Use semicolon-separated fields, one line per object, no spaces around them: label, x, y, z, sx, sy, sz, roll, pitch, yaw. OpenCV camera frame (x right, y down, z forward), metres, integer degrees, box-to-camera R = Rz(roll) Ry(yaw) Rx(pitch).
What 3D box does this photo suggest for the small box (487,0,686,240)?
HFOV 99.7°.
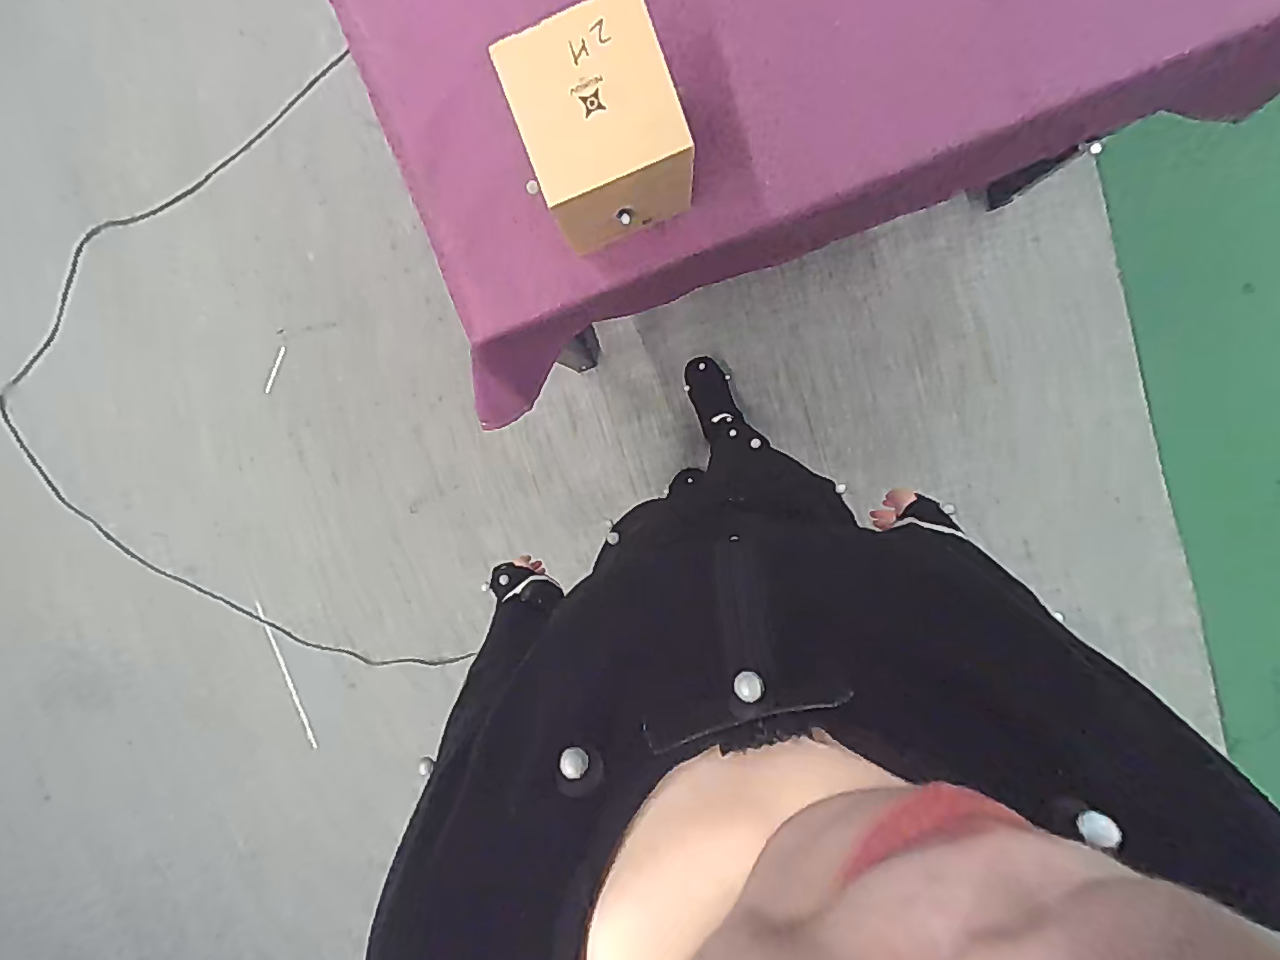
small box;-0.049;-0.406;0.635;0.168;0.176;0.179;-20;94;5
